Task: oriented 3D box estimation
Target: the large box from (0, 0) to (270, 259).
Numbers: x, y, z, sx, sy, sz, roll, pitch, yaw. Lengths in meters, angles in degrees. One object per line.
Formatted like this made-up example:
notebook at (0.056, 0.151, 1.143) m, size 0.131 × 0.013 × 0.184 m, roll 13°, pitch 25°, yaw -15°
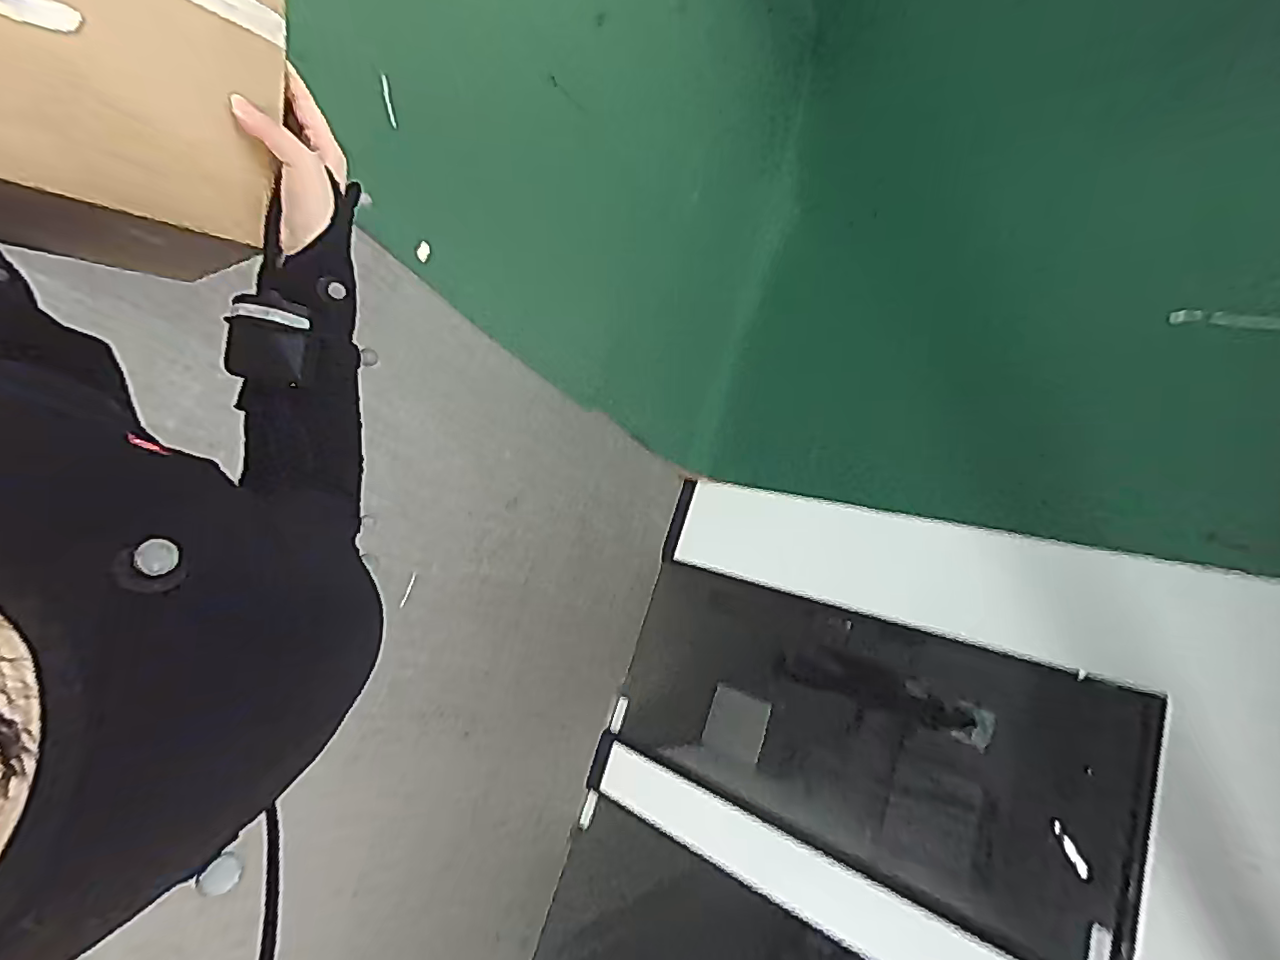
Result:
large box at (-0.520, -0.364, 0.346) m, size 0.408 × 0.320 × 0.320 m, roll -3°, pitch 102°, yaw -50°
